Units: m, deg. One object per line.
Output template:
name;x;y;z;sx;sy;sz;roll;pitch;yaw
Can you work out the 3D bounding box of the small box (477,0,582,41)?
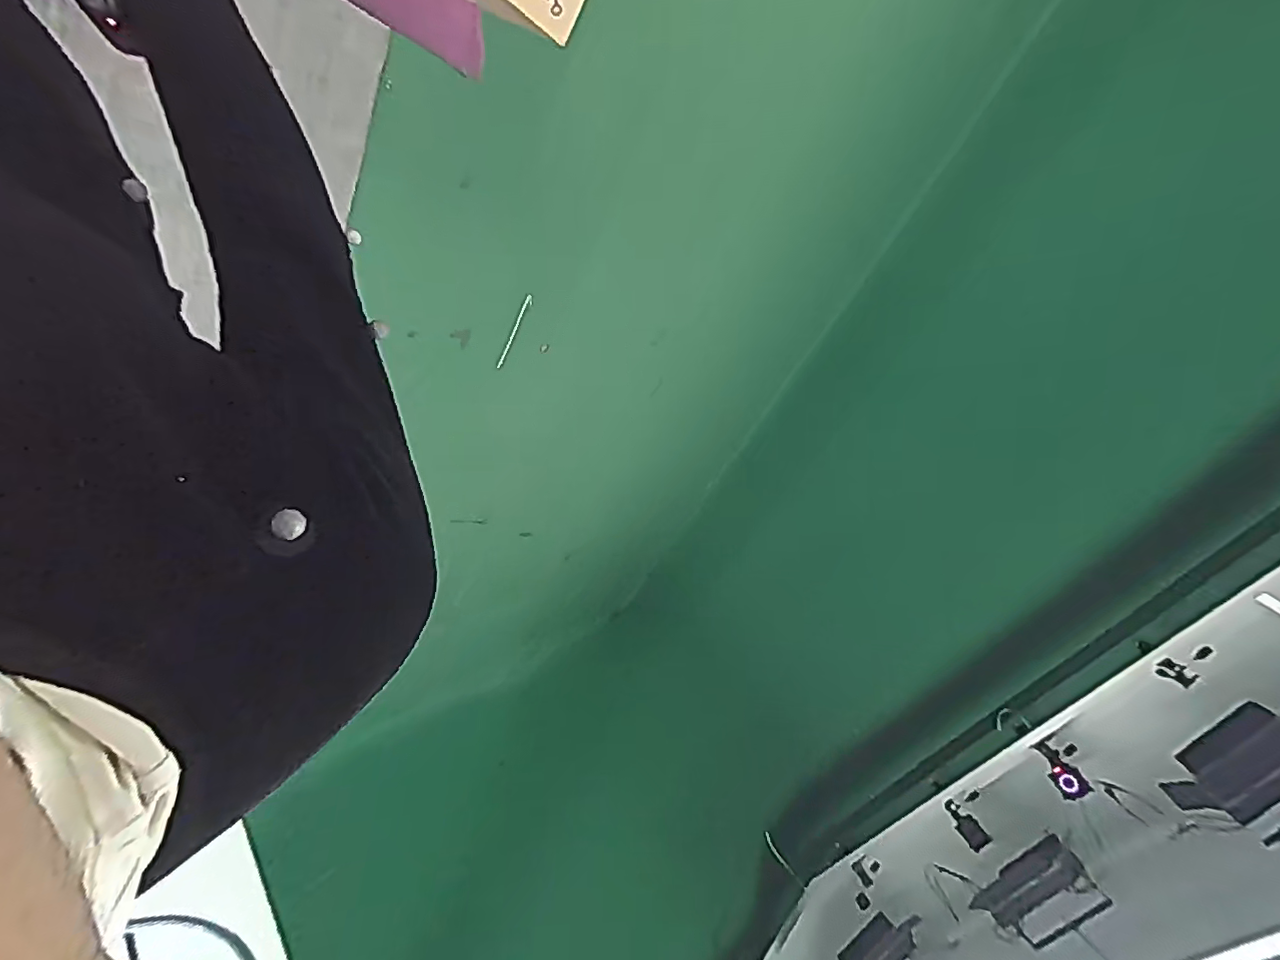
small box;-0.124;-0.505;0.418;0.168;0.176;0.179;-2;131;-52
